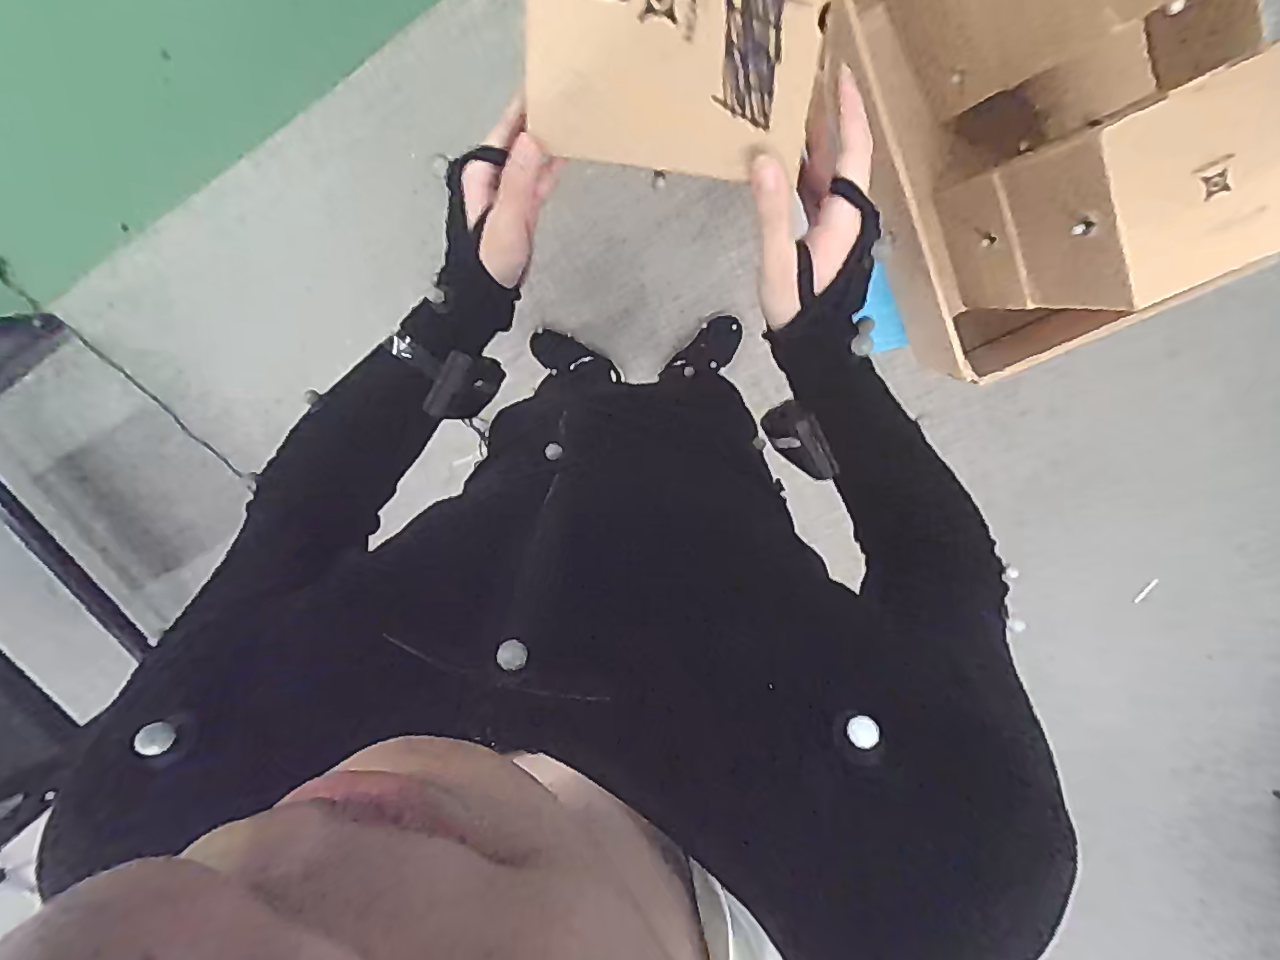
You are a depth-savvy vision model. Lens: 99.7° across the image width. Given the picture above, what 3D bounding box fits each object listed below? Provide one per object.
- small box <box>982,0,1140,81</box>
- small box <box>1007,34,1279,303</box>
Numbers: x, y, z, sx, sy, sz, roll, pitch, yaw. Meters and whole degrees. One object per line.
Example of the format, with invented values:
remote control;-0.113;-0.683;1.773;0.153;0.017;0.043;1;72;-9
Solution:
small box;0.431;-0.518;0.491;0.168;0.176;0.179;-29;107;14
small box;0.524;-0.299;0.564;0.168;0.176;0.179;-23;106;12
